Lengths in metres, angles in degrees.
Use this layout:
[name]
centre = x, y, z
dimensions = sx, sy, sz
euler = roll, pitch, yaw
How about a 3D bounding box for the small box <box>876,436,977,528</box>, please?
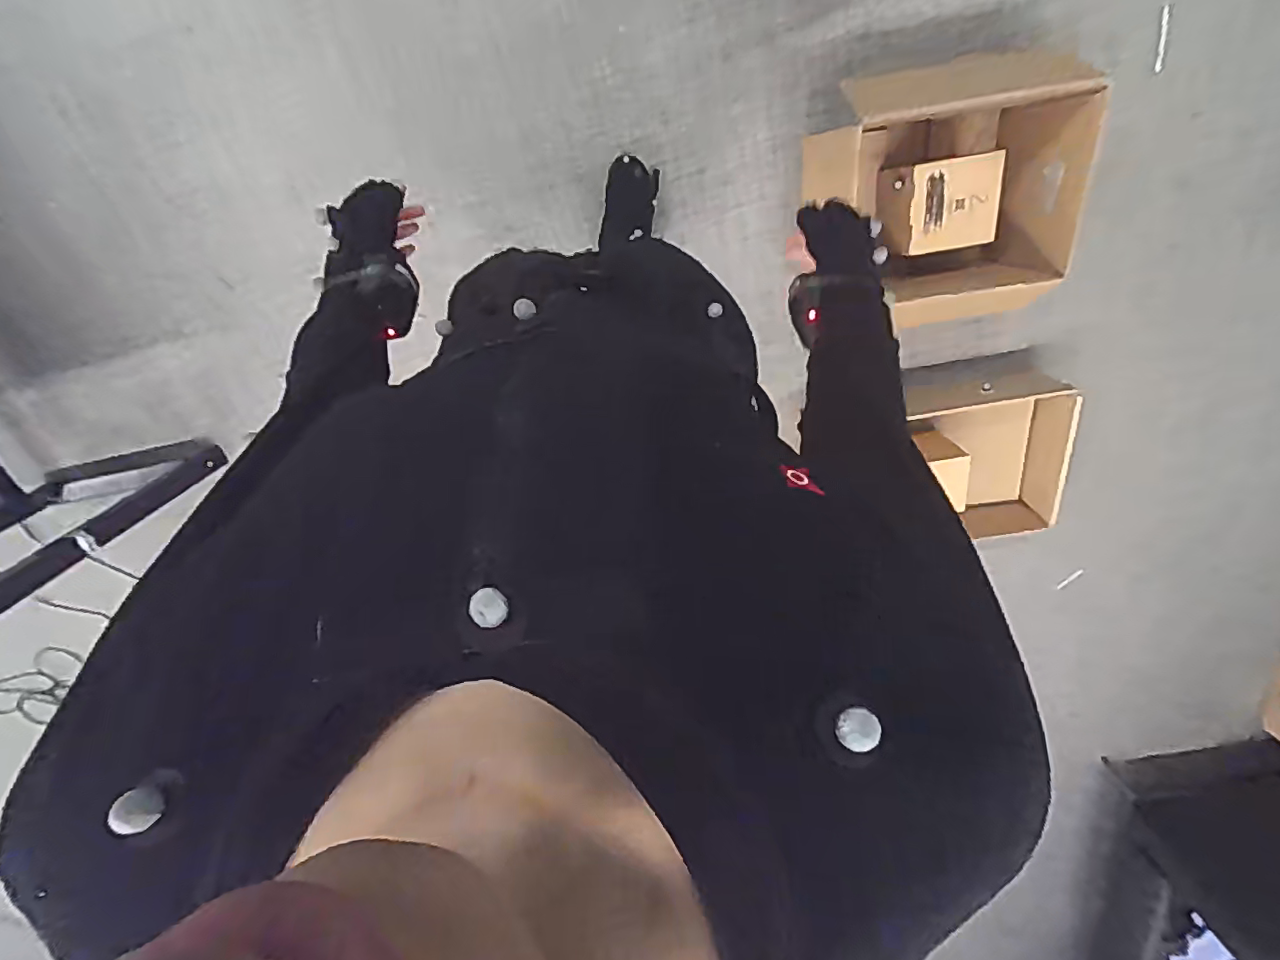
[small box]
centre = 0.735, -0.001, 1.404
dimensions = 0.179, 0.176, 0.168
euler = -10, 118, 5
